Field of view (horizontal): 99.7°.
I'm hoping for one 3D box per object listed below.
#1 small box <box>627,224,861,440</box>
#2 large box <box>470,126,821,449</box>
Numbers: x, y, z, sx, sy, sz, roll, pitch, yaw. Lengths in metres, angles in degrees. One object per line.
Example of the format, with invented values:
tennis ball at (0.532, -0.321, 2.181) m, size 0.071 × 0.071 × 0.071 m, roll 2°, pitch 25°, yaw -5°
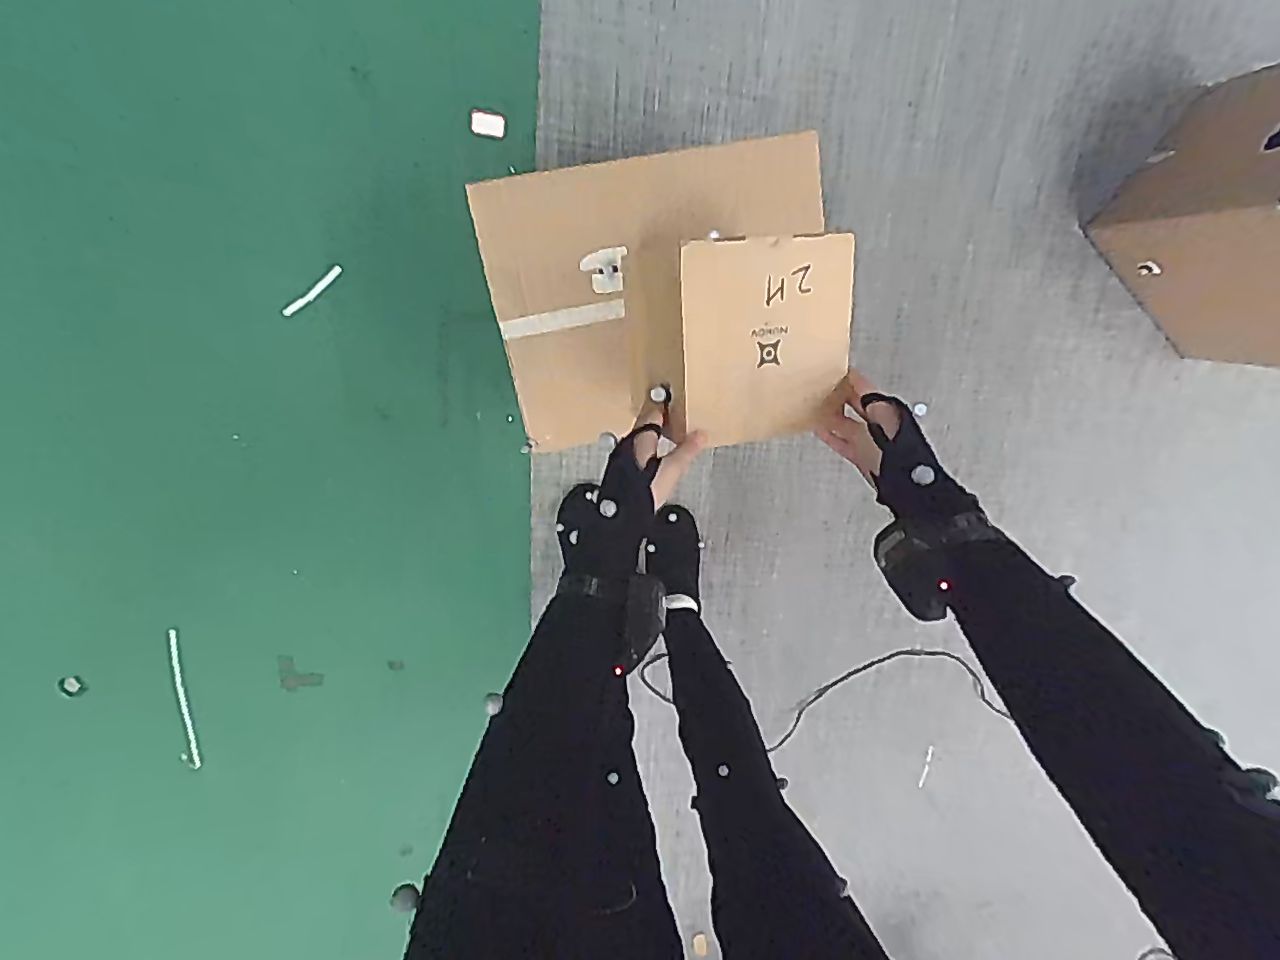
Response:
small box at (0.091, -0.151, 0.541) m, size 0.168 × 0.176 × 0.179 m, roll -9°, pitch 110°, yaw -17°
large box at (0.014, -0.268, 0.790) m, size 0.408 × 0.320 × 0.320 m, roll -11°, pitch 109°, yaw -4°
